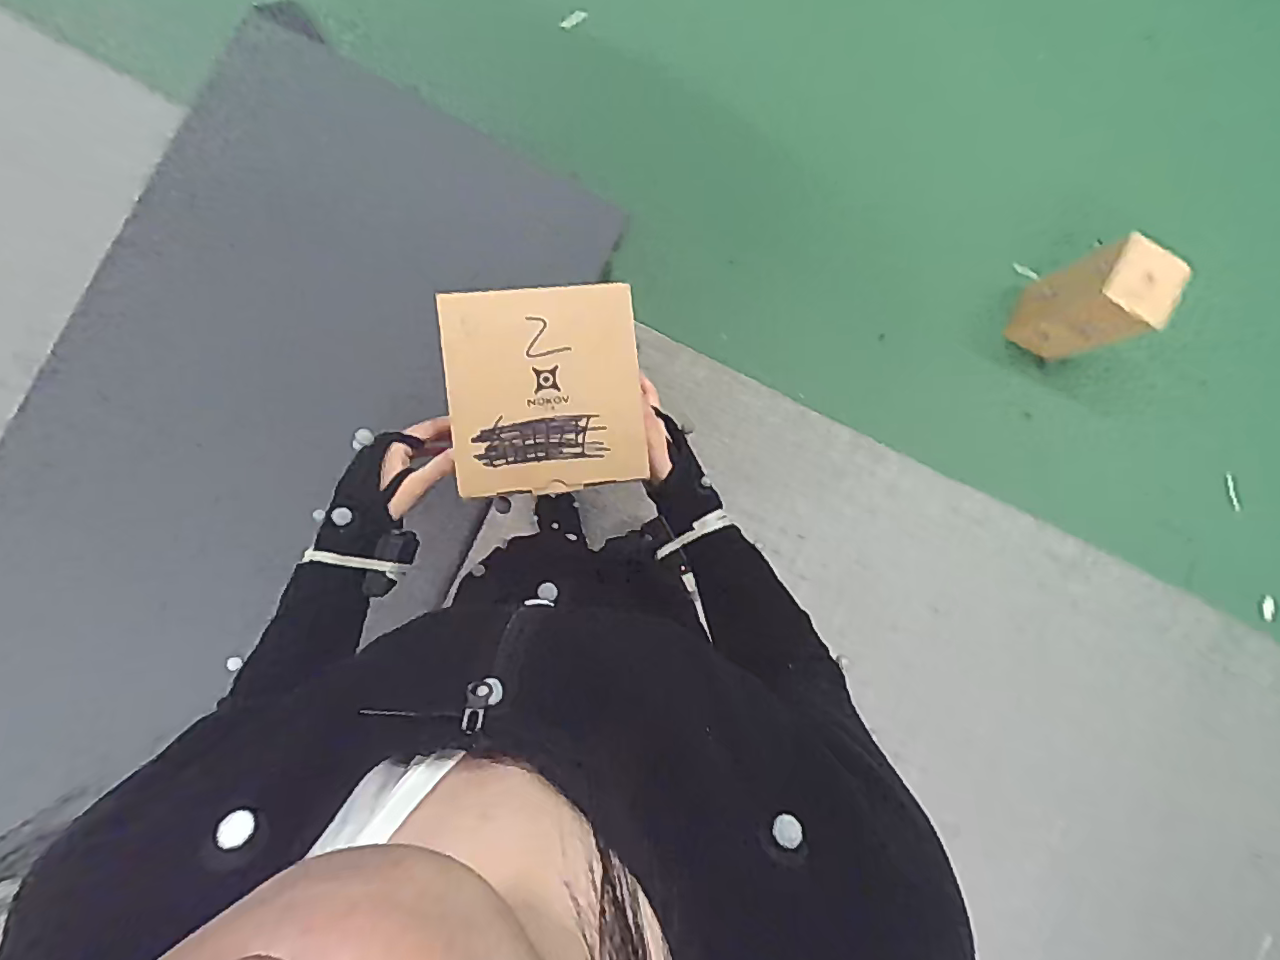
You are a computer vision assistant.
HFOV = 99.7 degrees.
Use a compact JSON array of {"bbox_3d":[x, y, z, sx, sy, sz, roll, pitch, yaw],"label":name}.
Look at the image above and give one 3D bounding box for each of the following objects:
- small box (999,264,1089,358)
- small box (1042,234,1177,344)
[{"bbox_3d":[1.170,-0.469,1.537,0.168,0.176,0.179,26,86,-3],"label":"small box"},{"bbox_3d":[1.179,-0.475,1.372,0.168,0.176,0.179,28,87,-3],"label":"small box"}]
